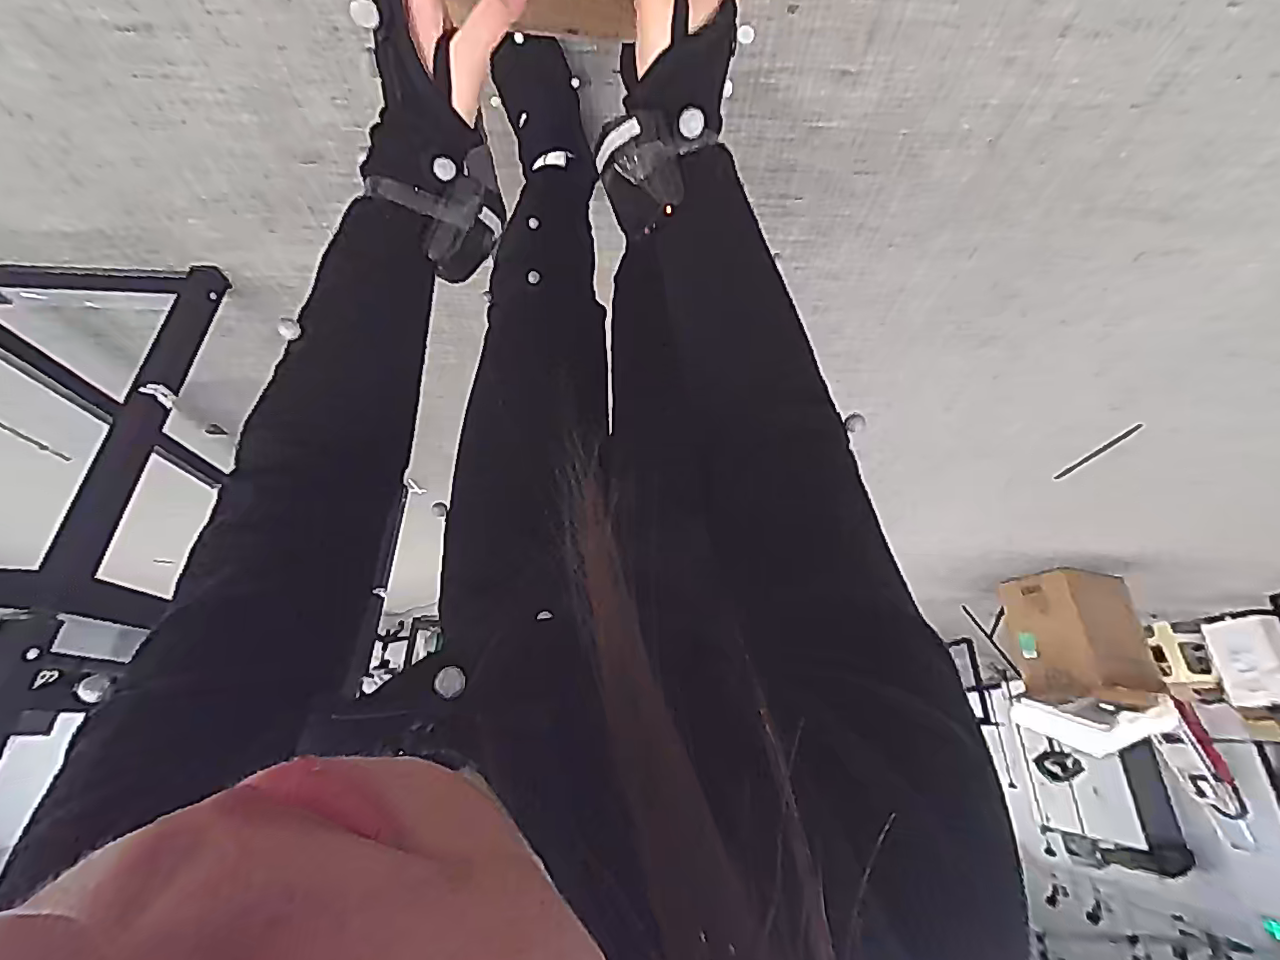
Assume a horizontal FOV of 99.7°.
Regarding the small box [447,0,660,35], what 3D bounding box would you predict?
[{"bbox_3d":[-0.058,-0.415,0.343,0.168,0.176,0.179,-7,118,-16],"label":"small box"}]
